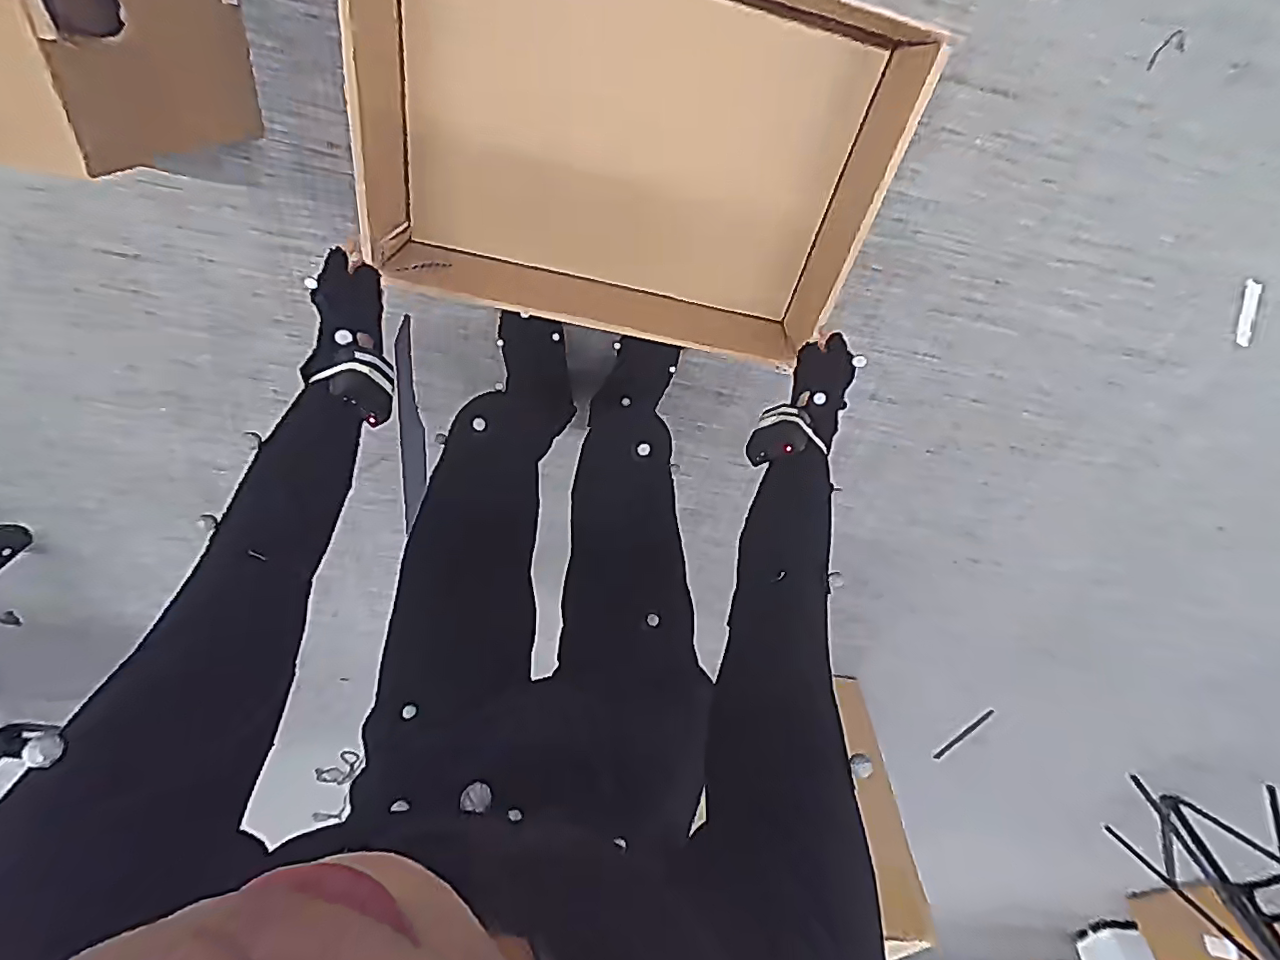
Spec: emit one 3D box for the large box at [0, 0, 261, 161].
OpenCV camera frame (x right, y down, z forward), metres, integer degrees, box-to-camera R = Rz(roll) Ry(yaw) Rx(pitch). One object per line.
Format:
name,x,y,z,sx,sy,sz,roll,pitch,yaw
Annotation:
large box,-0.690,-0.546,0.524,0.408,0.320,0.320,8,130,-7
